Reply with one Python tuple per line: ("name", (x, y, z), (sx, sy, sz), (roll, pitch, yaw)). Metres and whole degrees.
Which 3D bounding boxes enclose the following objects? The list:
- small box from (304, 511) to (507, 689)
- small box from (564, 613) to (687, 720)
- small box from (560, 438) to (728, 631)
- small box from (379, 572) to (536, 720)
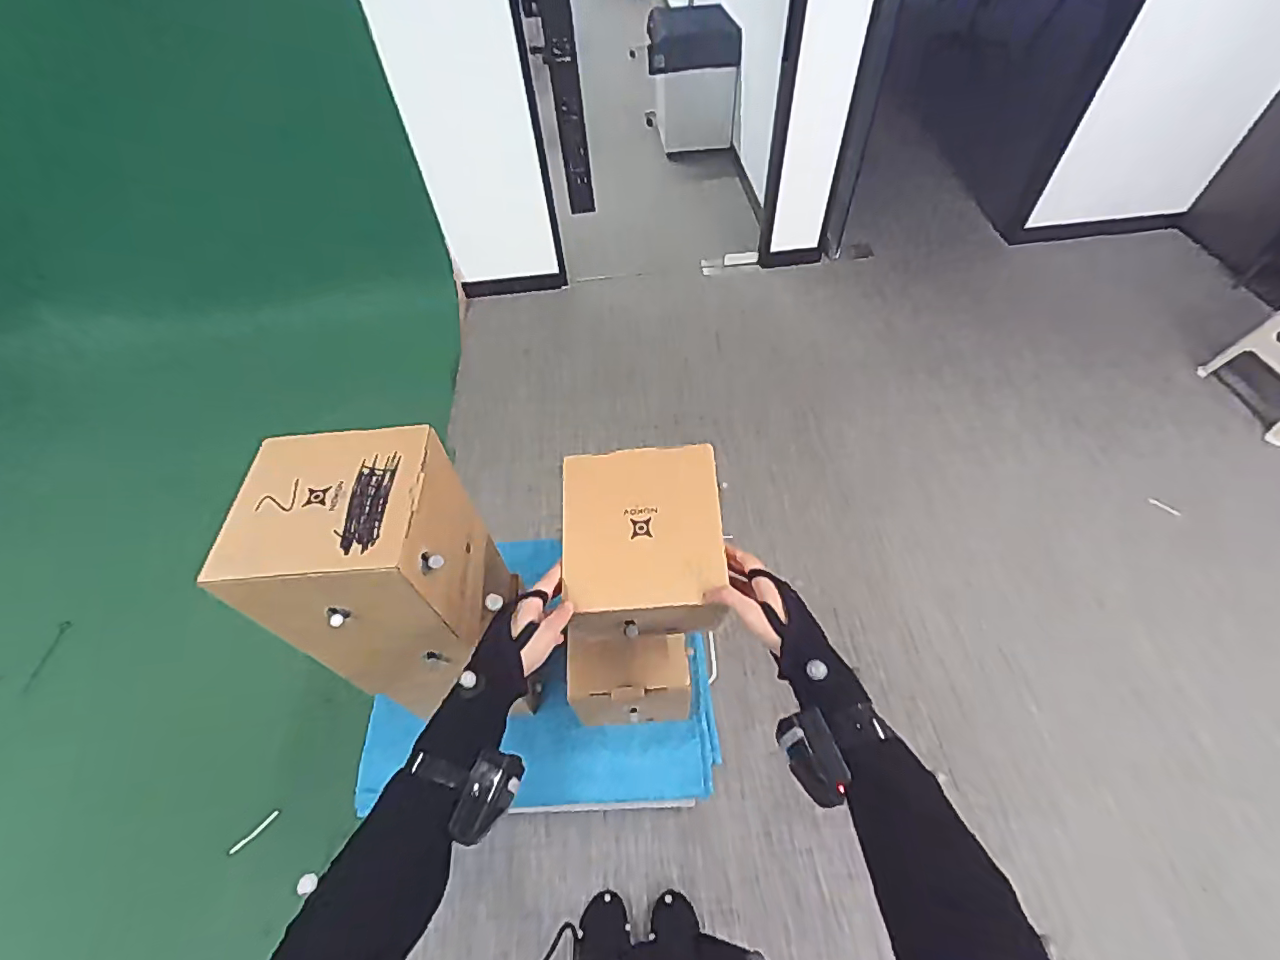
("small box", (-0.277, 0.157, 0.692), (0.179, 0.176, 0.168), (-5, 52, 0))
("small box", (-0.017, 0.252, 0.812), (0.168, 0.176, 0.179), (-4, 53, 0))
("small box", (0.008, 0.073, 0.621), (0.168, 0.176, 0.179), (-5, 64, 3))
("small box", (-0.260, 0.255, 0.824), (0.179, 0.176, 0.168), (-5, 52, 0))
